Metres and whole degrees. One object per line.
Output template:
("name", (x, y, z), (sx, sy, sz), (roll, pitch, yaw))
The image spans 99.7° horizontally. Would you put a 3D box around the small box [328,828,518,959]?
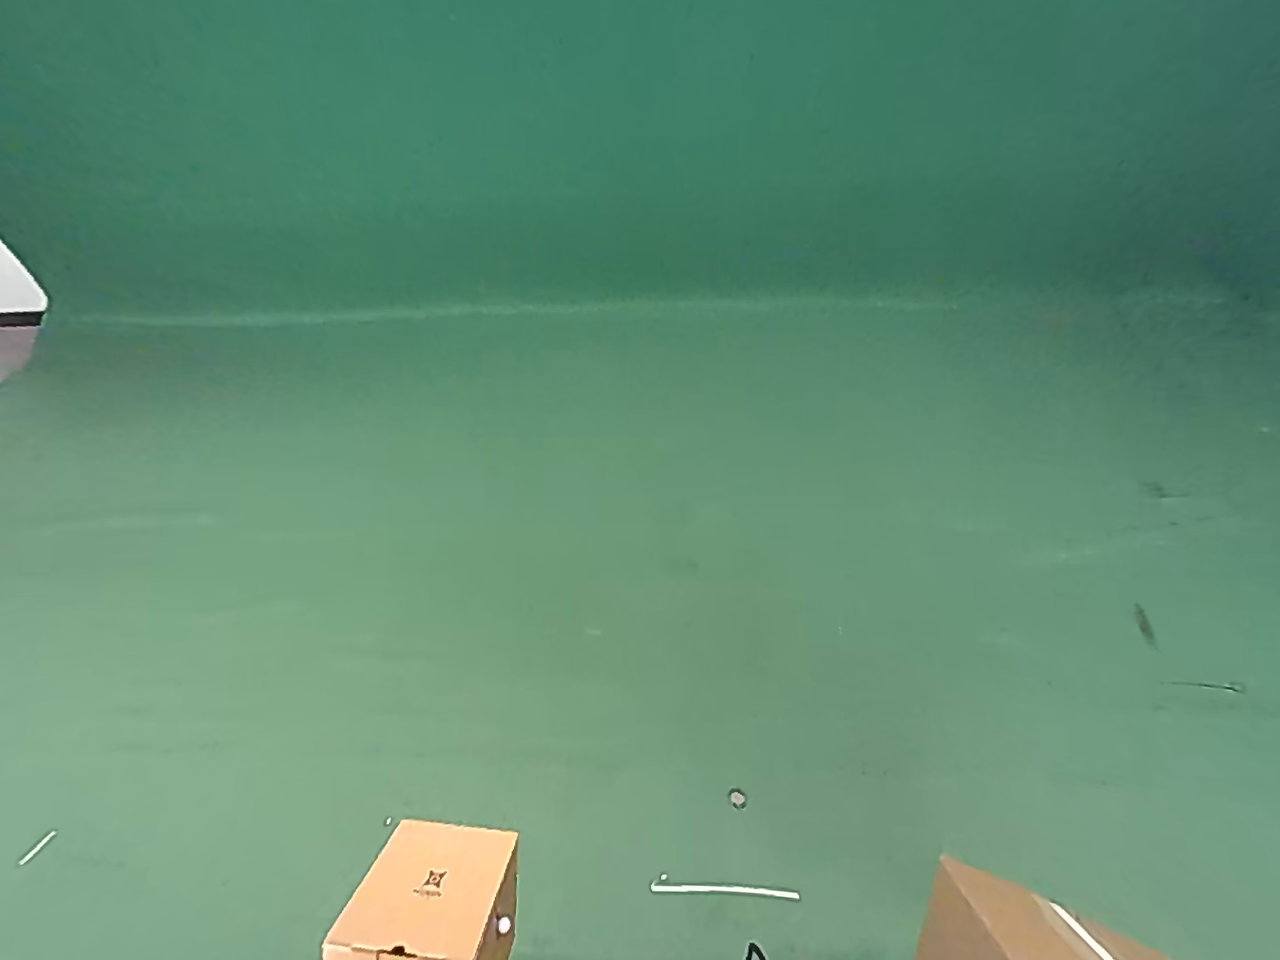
("small box", (-0.259, 0.580, 0.670), (0.168, 0.176, 0.179), (4, 8, 3))
